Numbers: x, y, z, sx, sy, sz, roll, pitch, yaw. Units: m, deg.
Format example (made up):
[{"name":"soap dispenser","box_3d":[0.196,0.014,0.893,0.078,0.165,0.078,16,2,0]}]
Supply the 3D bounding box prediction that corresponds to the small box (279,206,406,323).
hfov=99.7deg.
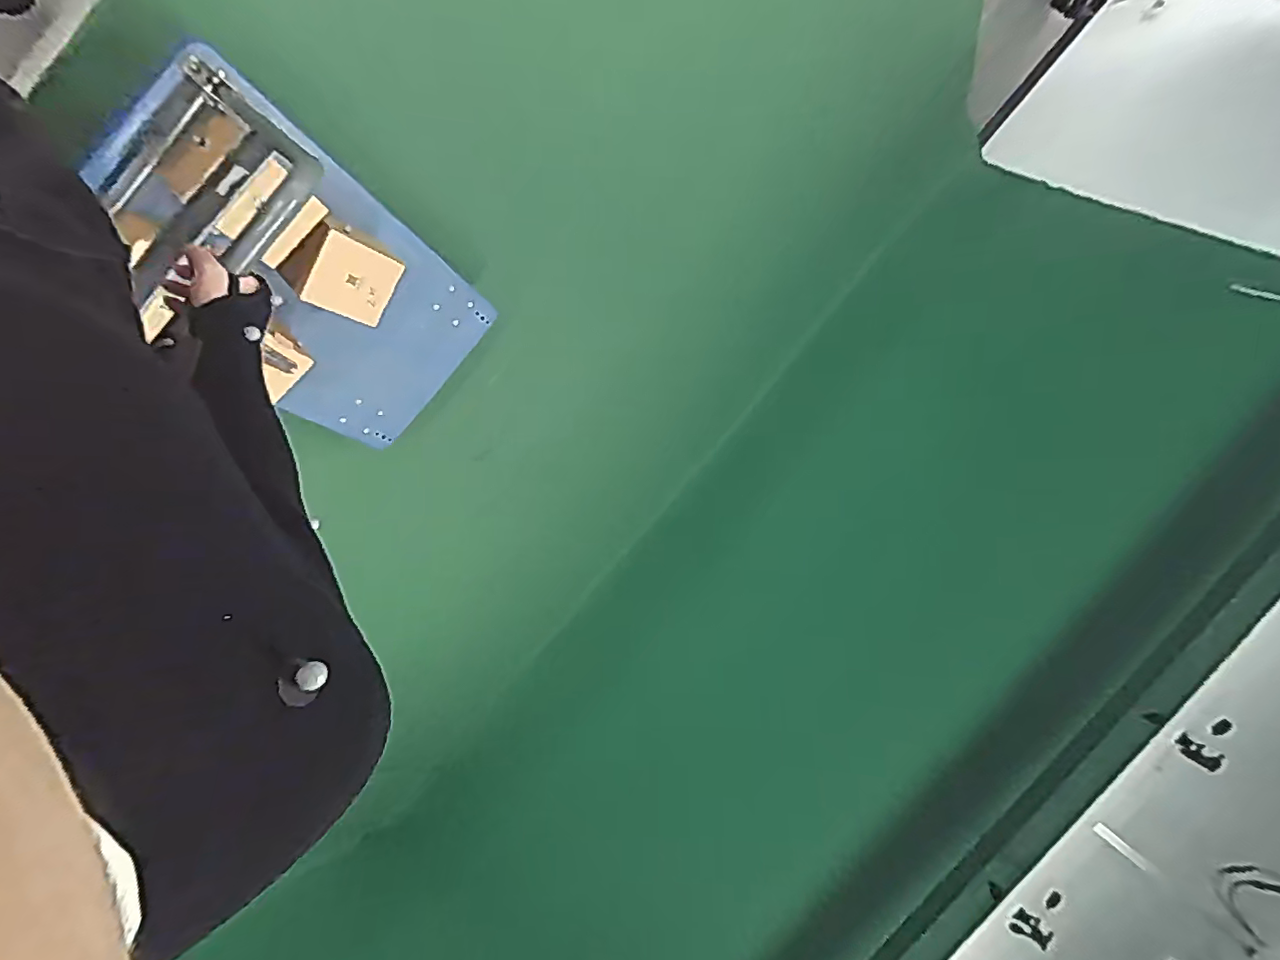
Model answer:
[{"name":"small box","box_3d":[-0.678,-0.492,1.227,0.168,0.176,0.179,-55,151,13]}]
